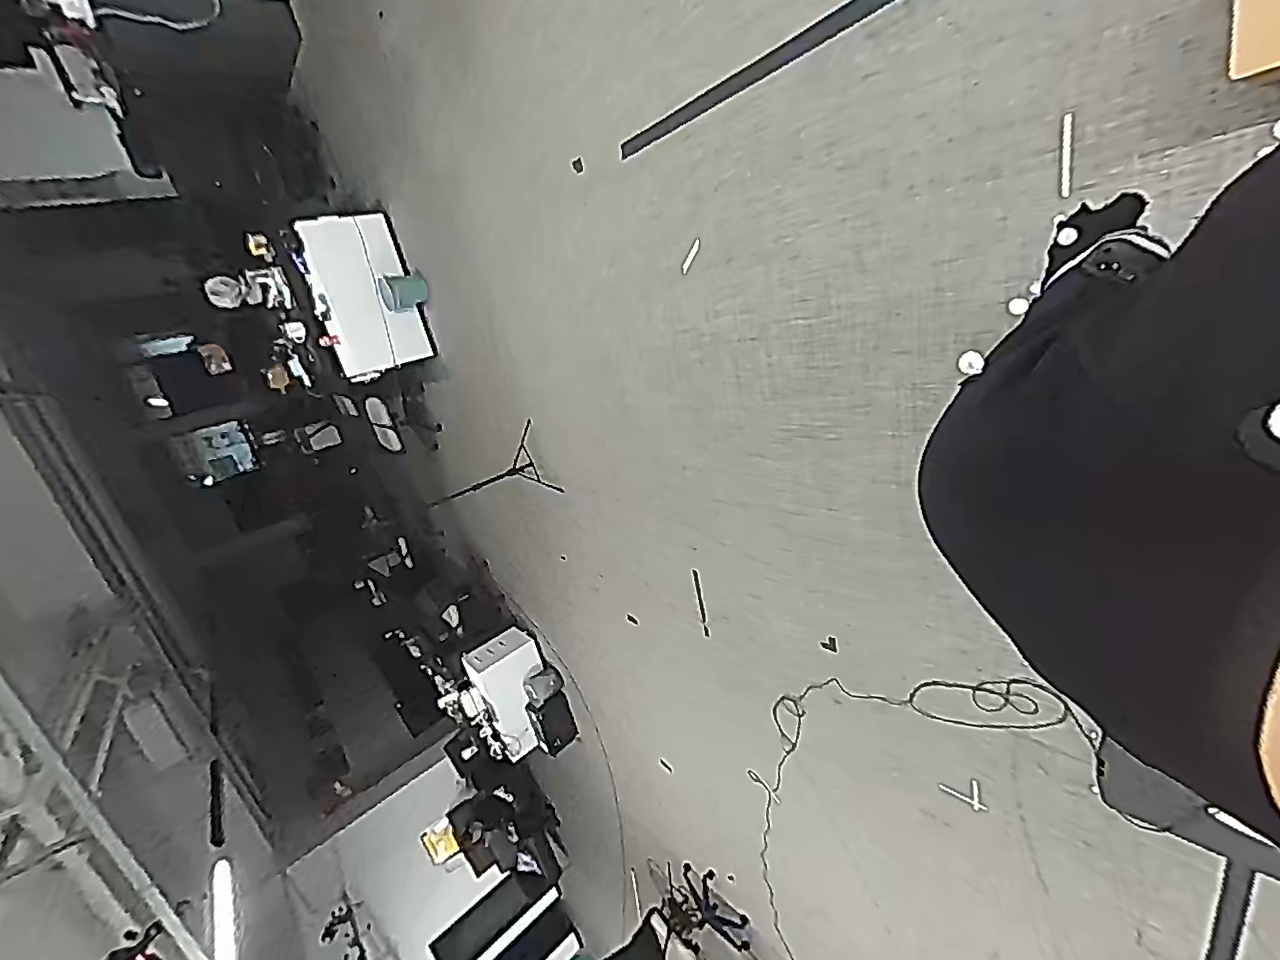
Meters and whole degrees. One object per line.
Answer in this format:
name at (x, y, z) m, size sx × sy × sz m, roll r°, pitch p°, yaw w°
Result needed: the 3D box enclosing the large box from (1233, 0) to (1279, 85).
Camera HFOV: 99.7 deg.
large box at (0.990, -0.725, 0.618) m, size 0.408 × 0.320 × 0.320 m, roll 7°, pitch 118°, yaw 50°
